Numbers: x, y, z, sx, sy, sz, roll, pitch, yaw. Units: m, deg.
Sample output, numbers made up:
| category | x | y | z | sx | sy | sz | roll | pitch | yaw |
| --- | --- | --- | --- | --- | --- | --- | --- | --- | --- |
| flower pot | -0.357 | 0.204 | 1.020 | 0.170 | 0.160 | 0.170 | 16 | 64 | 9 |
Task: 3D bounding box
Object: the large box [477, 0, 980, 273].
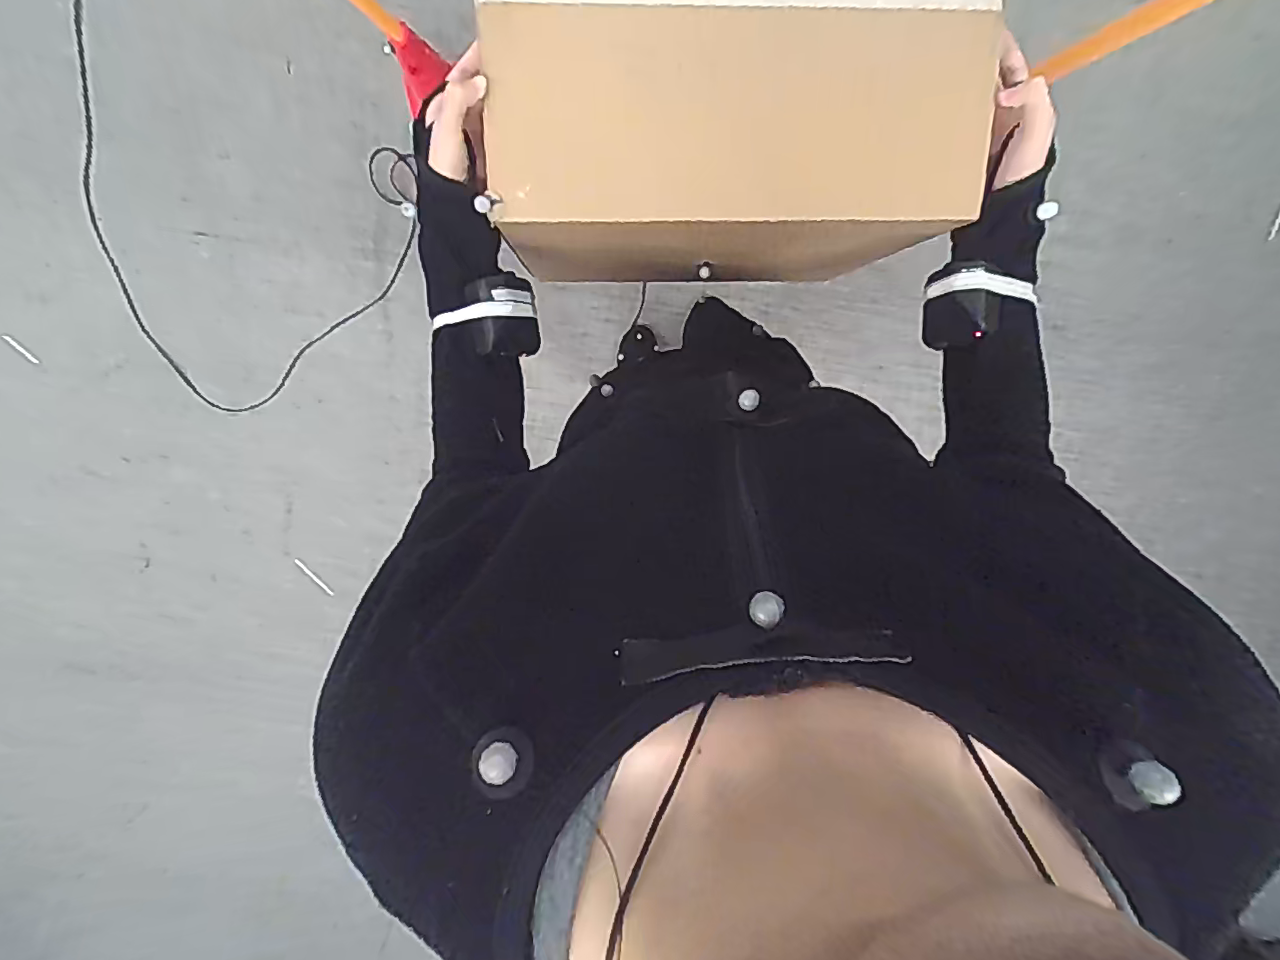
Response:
| category | x | y | z | sx | sy | sz | roll | pitch | yaw |
| --- | --- | --- | --- | --- | --- | --- | --- | --- | --- |
| large box | 0.067 | -0.403 | 0.565 | 0.408 | 0.320 | 0.320 | -2 | 102 | -3 |
